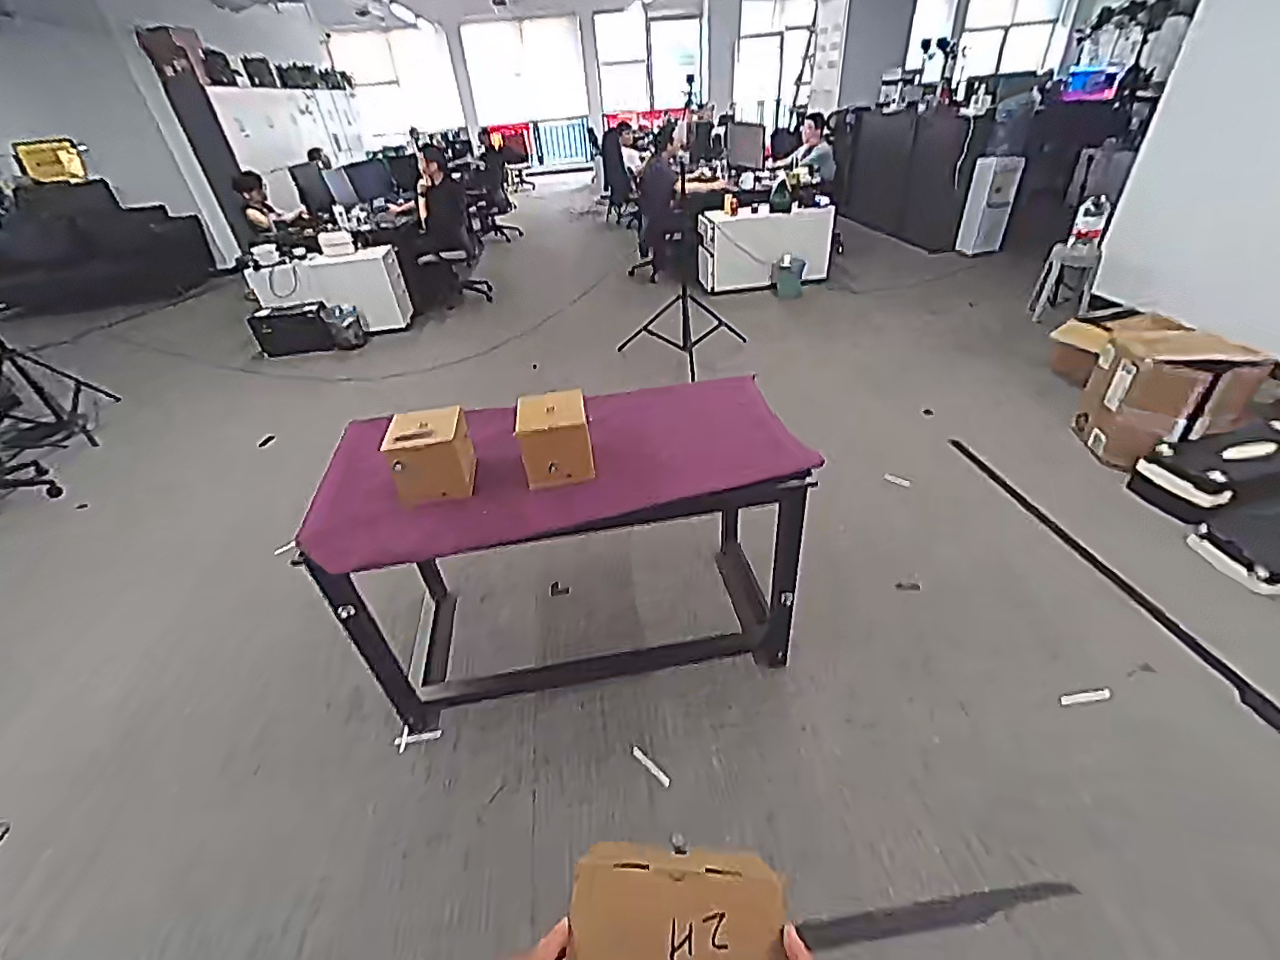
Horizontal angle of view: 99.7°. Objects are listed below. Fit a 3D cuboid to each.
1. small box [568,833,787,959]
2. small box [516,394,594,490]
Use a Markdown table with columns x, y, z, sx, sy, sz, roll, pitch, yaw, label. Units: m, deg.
| x | y | z | sx | sy | sz | roll | pitch | yaw | label |
| --- | --- | --- | --- | --- | --- | --- | --- | --- | --- |
| 0.032 | 0.416 | 0.460 | 0.168 | 0.176 | 0.179 | 1 | 60 | 5 | small box |
| -0.213 | -0.097 | 1.369 | 0.168 | 0.176 | 0.179 | -9 | 36 | -5 | small box |
